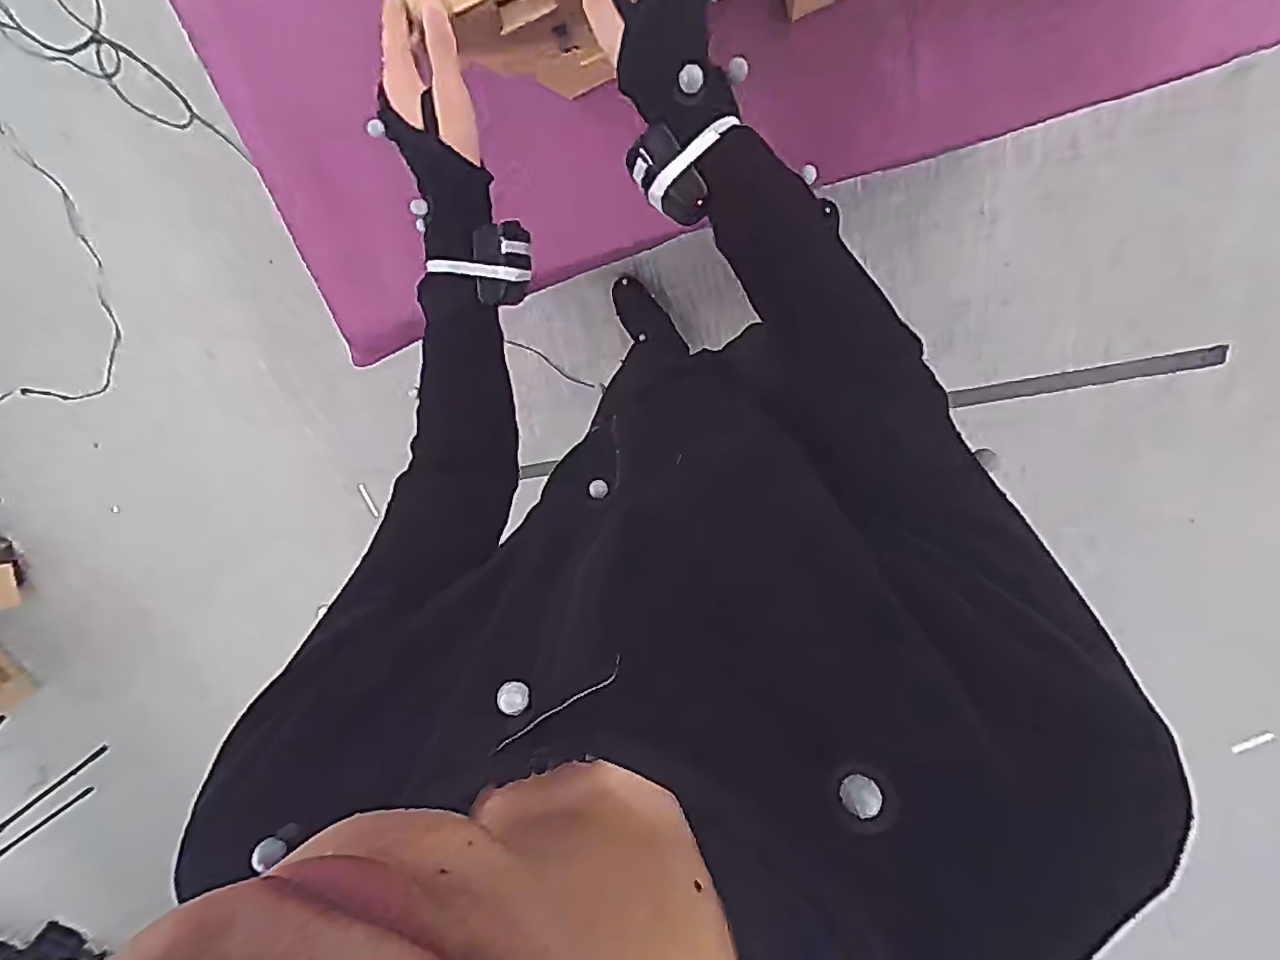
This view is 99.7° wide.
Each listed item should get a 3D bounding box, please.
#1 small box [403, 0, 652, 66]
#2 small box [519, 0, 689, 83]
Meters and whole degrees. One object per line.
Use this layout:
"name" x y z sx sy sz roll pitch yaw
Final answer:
"small box" -0.096 -0.451 0.401 0.168 0.176 0.179 -11 116 17
"small box" -0.056 -0.530 0.540 0.168 0.176 0.179 -13 114 18
